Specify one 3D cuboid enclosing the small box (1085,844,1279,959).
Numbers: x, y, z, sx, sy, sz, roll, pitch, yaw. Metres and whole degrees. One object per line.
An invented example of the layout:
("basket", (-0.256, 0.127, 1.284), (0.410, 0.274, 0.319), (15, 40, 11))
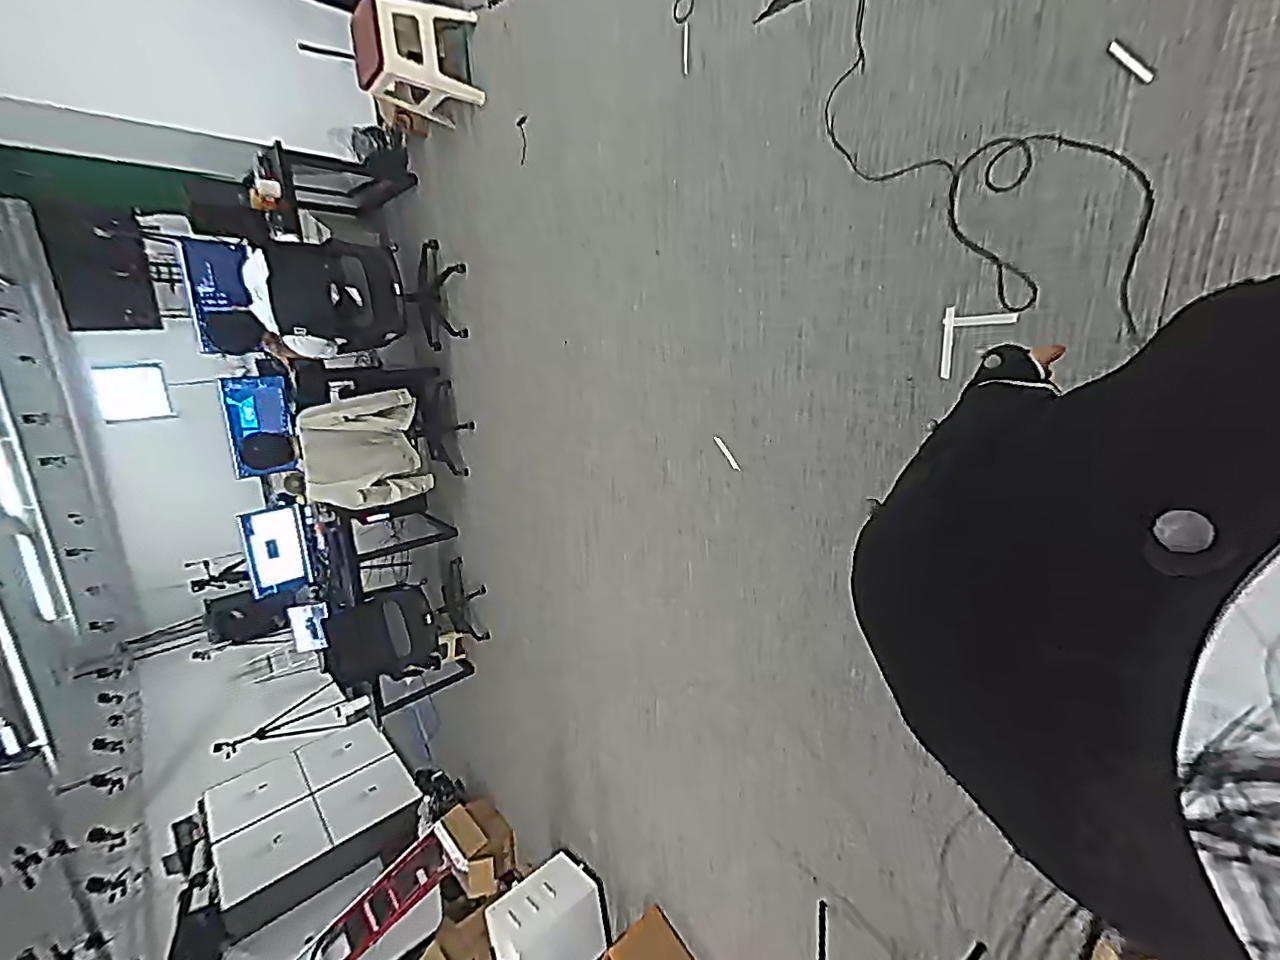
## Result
("small box", (0.654, 0.604, 0.655), (0.168, 0.176, 0.179), (12, 108, 44))
